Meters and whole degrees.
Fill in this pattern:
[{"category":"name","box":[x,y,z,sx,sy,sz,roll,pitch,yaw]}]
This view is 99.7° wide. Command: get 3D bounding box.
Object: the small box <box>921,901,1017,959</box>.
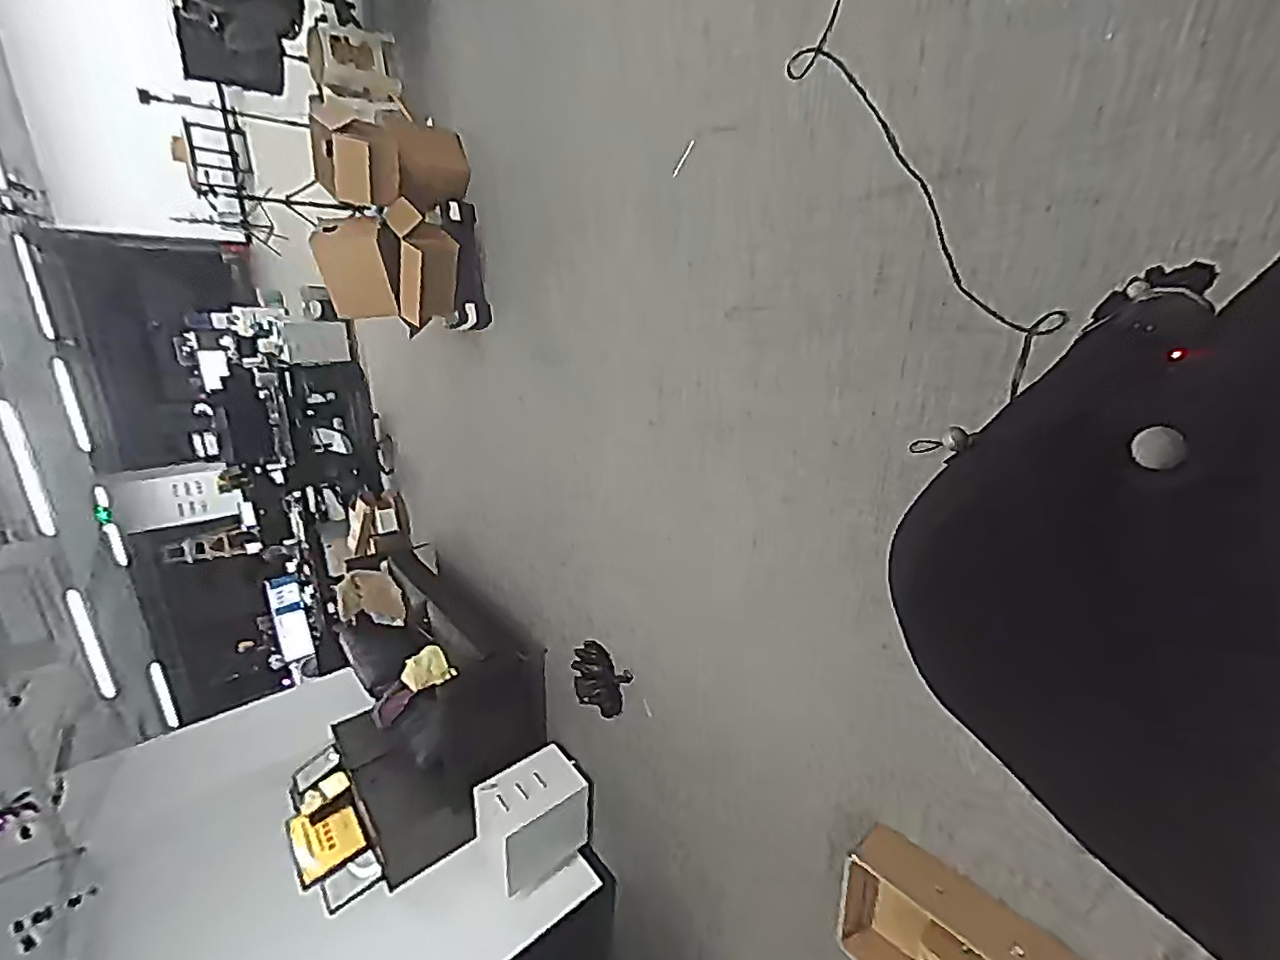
[{"category":"small box","box":[0.916,1.335,1.512,0.179,0.176,0.168,19,117,46]}]
